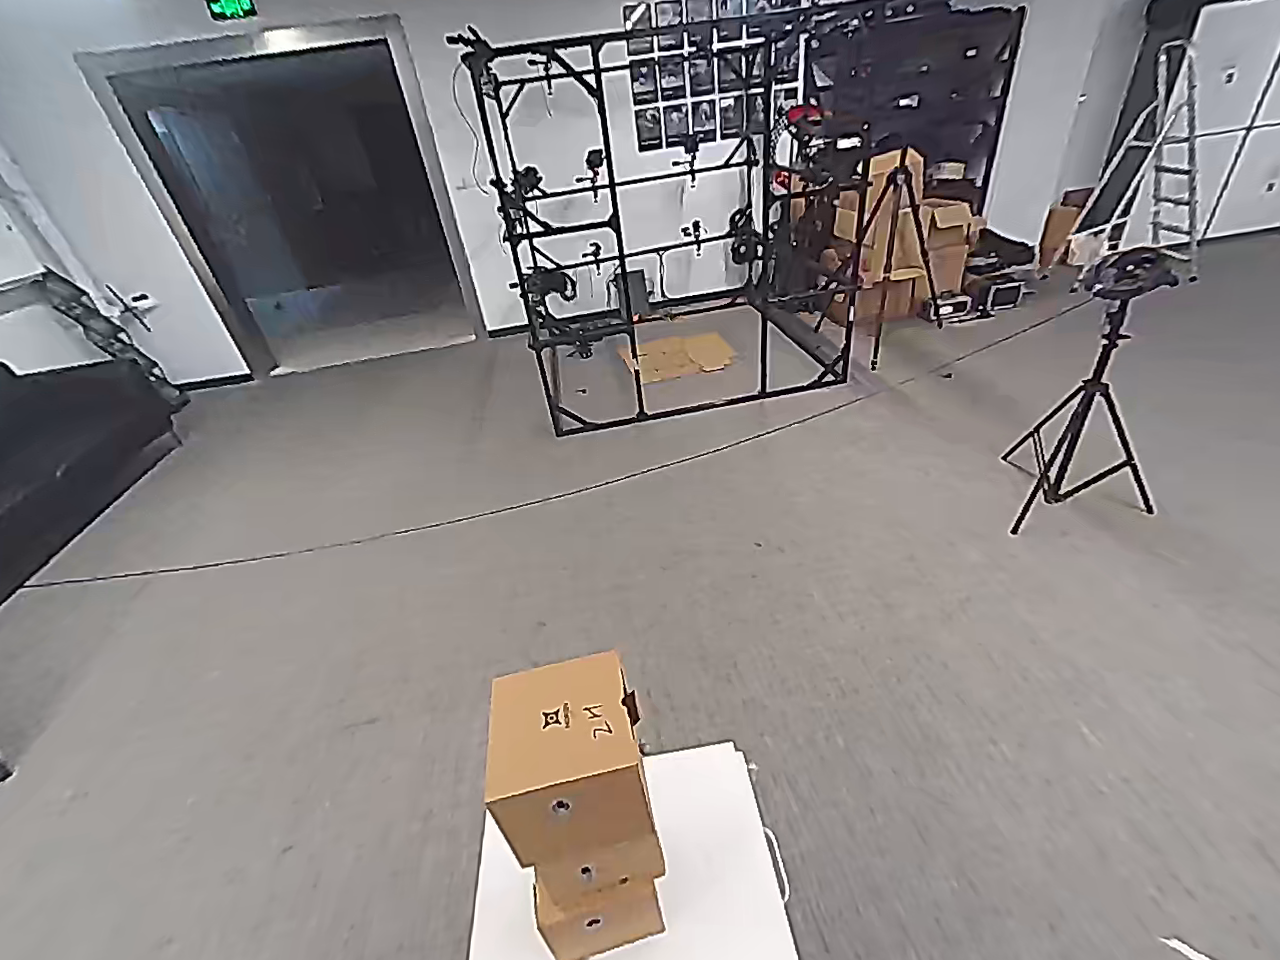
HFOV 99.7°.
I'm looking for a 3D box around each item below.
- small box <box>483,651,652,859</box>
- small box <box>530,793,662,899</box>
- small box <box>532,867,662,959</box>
[{"bbox_3d":[-0.090,0.358,0.707,0.179,0.176,0.168,-11,33,-4],"label":"small box"},{"bbox_3d":[-0.069,0.487,0.809,0.168,0.176,0.179,-12,33,-7],"label":"small box"},{"bbox_3d":[-0.072,0.635,0.882,0.179,0.176,0.168,-12,34,-8],"label":"small box"}]
